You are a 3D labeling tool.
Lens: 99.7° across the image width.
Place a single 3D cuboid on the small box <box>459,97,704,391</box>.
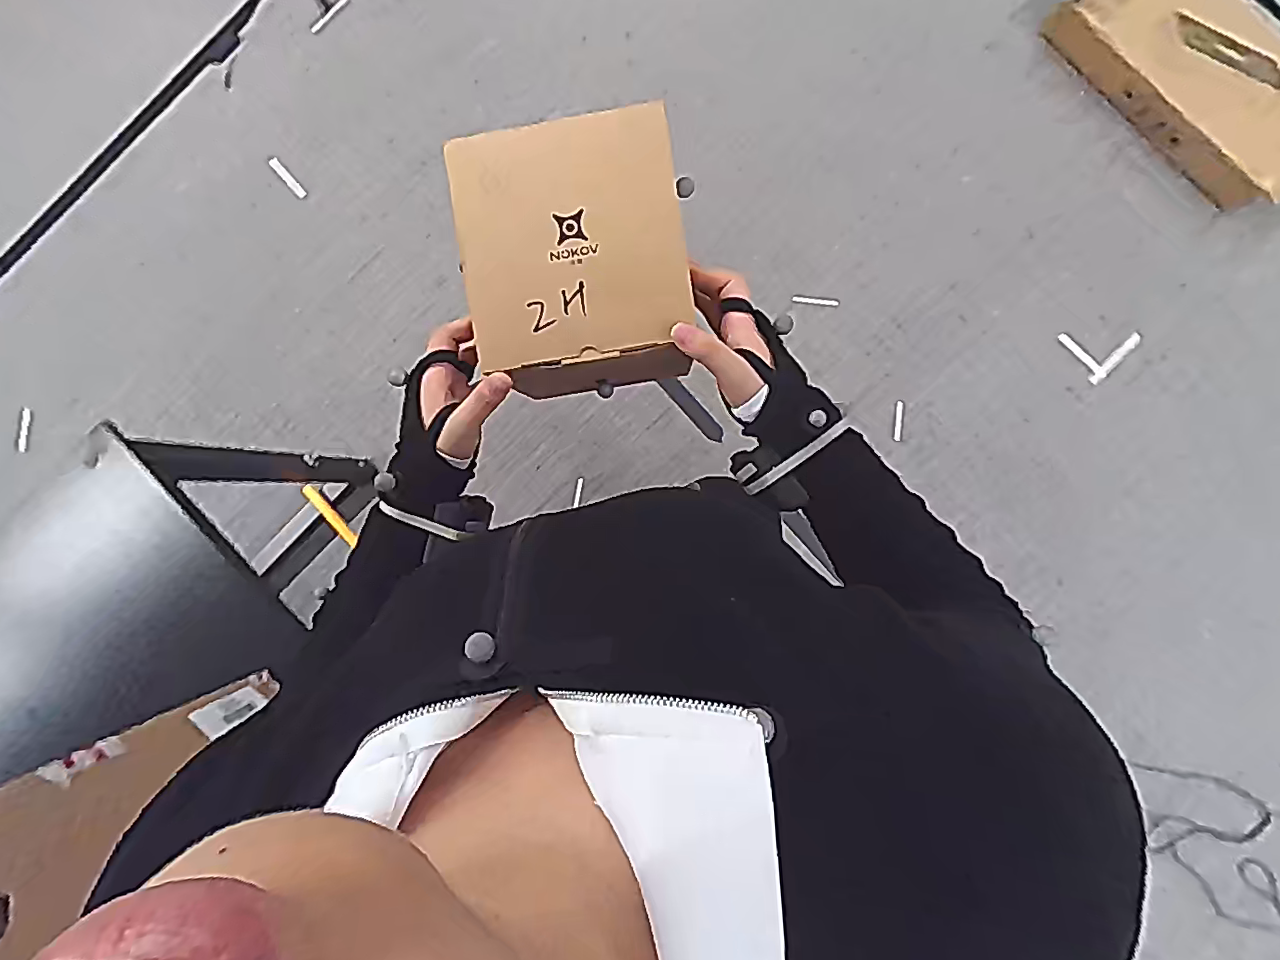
[{"bbox_3d":[-0.040,-0.184,0.475,0.168,0.176,0.179,-7,92,3],"label":"small box"}]
